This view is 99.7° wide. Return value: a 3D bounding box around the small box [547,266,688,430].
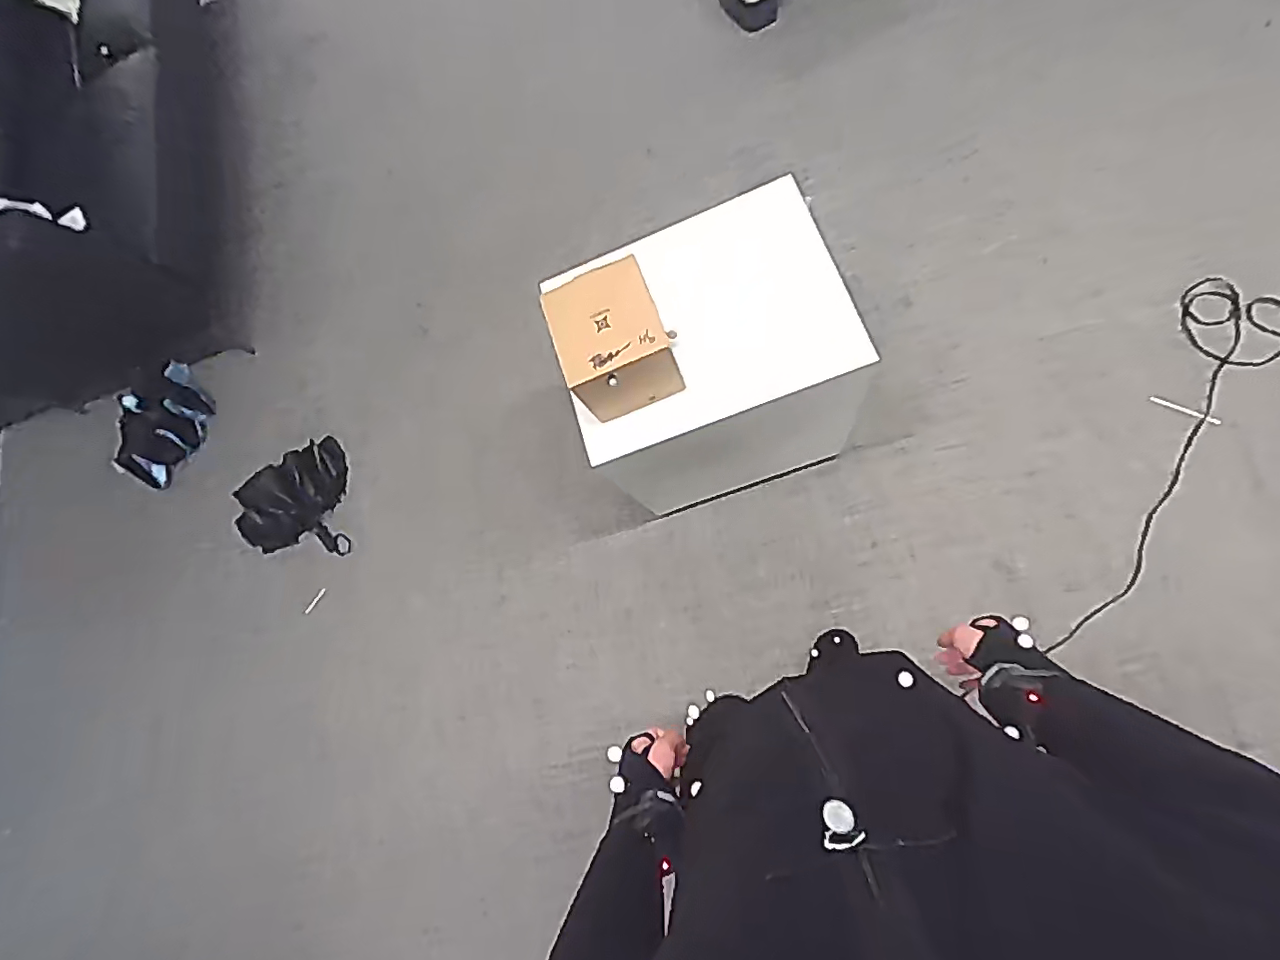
[{"bbox_3d":[-0.031,-0.210,0.900,0.168,0.176,0.179,-21,71,9],"label":"small box"}]
